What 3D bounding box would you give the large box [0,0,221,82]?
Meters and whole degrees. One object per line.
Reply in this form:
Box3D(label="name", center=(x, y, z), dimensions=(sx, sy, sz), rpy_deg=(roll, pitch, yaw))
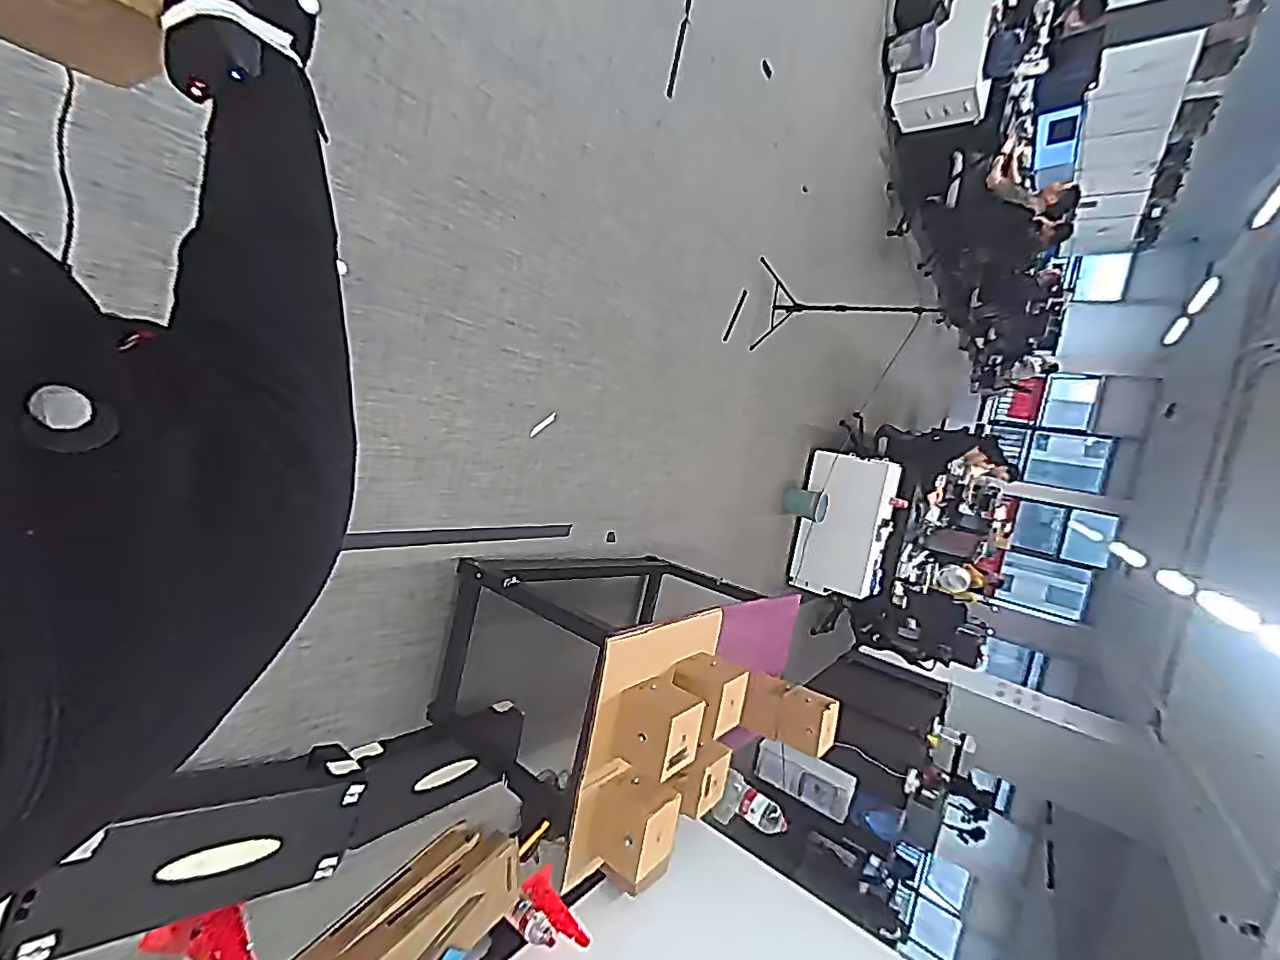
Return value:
Box3D(label="large box", center=(-0.534, -0.521, 0.316), dimensions=(0.408, 0.320, 0.320), rpy_deg=(-3, 111, -54))
